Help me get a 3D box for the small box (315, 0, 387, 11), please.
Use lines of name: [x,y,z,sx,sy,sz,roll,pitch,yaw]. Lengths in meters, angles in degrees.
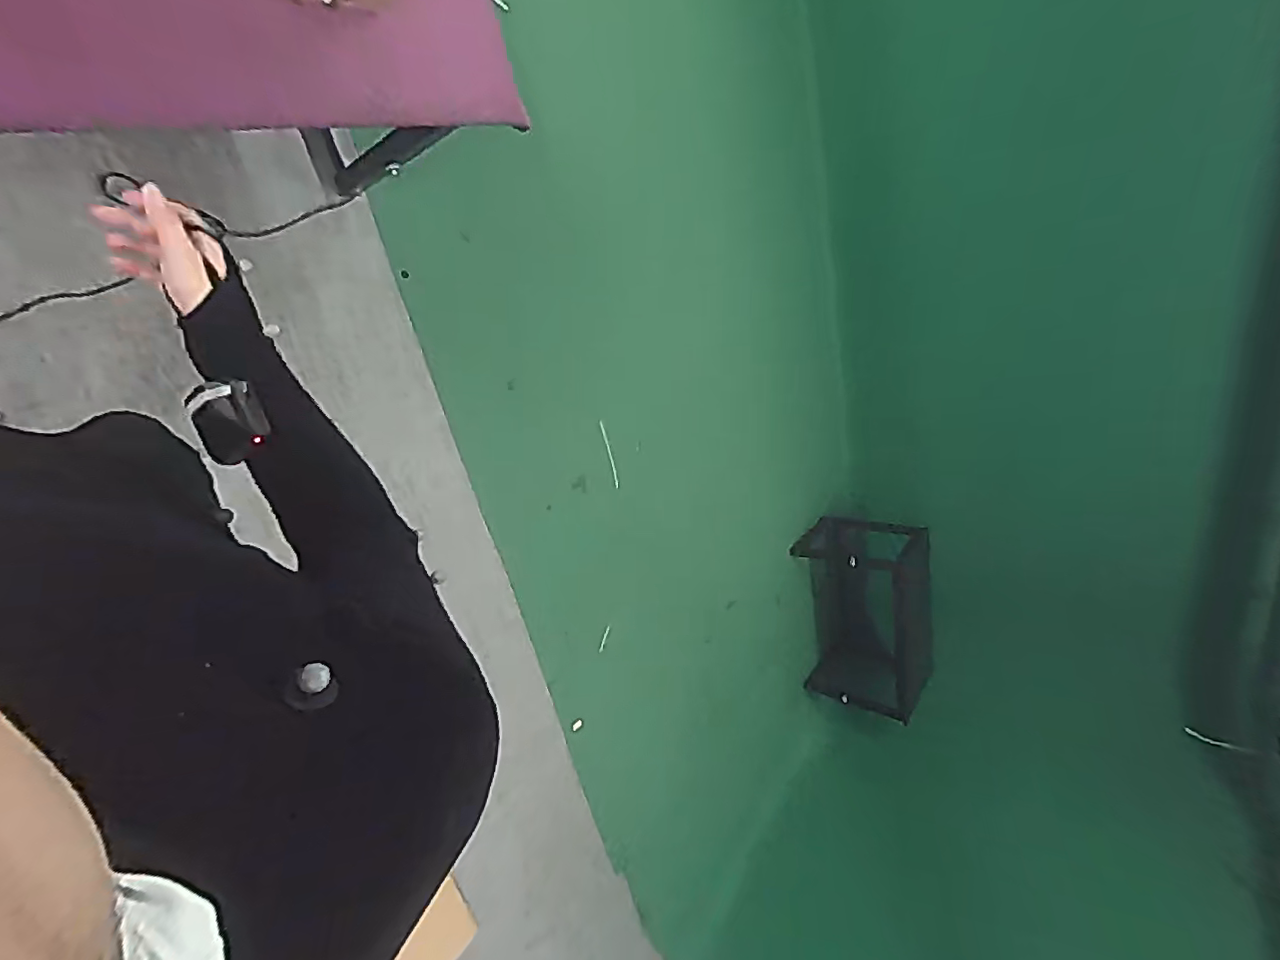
small box: [-0.416,-0.772,0.708,0.168,0.176,0.179,-31,117,-40]
